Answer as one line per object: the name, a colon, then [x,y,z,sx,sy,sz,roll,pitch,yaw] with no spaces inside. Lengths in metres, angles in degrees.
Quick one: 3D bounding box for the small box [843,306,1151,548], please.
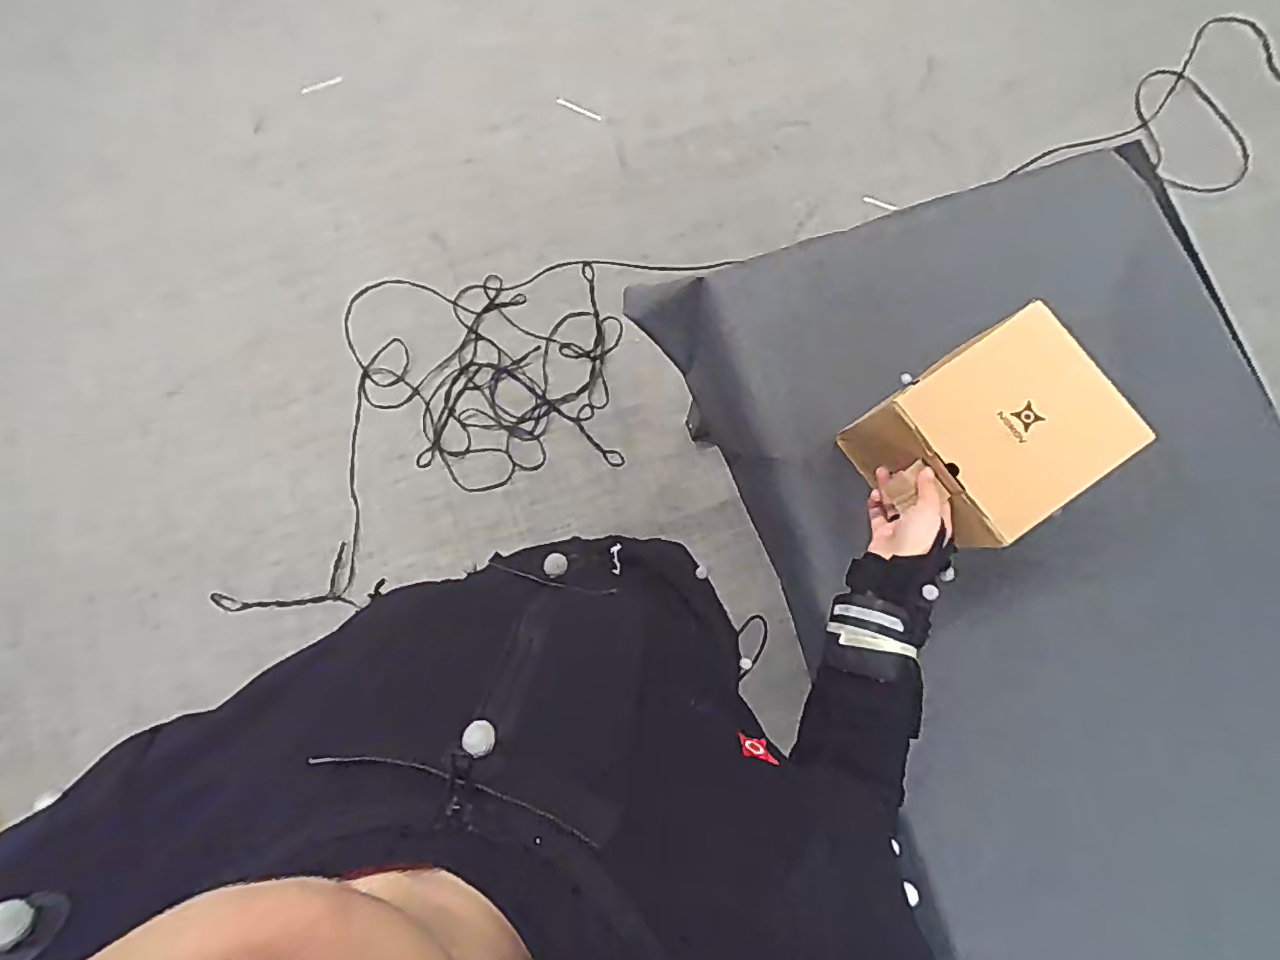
small box: [0.354,-0.044,0.576,0.179,0.176,0.168,-35,84,-2]
